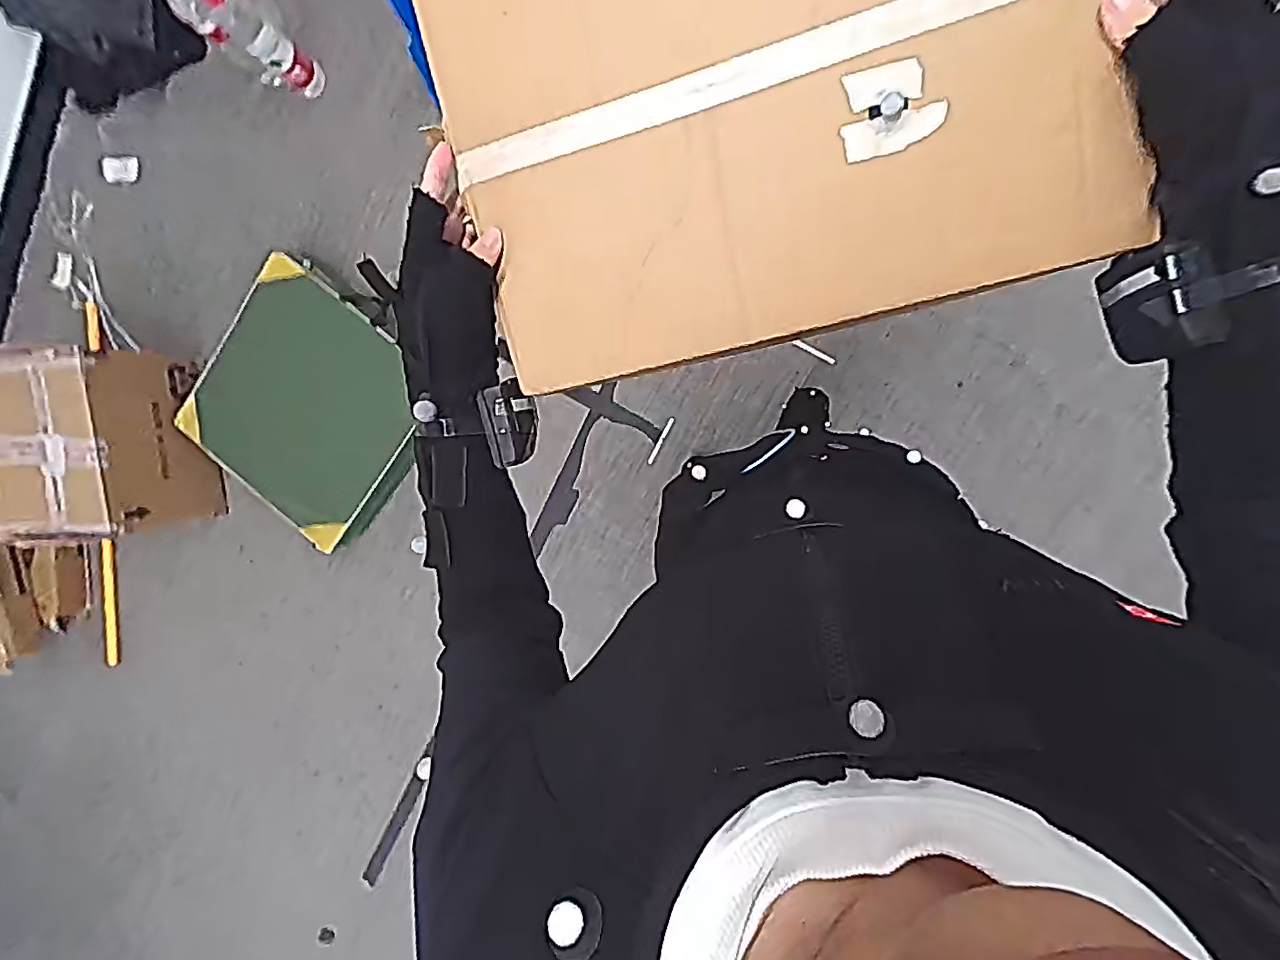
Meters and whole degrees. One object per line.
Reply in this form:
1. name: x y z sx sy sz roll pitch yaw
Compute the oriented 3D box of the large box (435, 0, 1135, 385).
1. large box: 0.098 -0.286 0.487 0.408 0.320 0.320 -12 101 10
